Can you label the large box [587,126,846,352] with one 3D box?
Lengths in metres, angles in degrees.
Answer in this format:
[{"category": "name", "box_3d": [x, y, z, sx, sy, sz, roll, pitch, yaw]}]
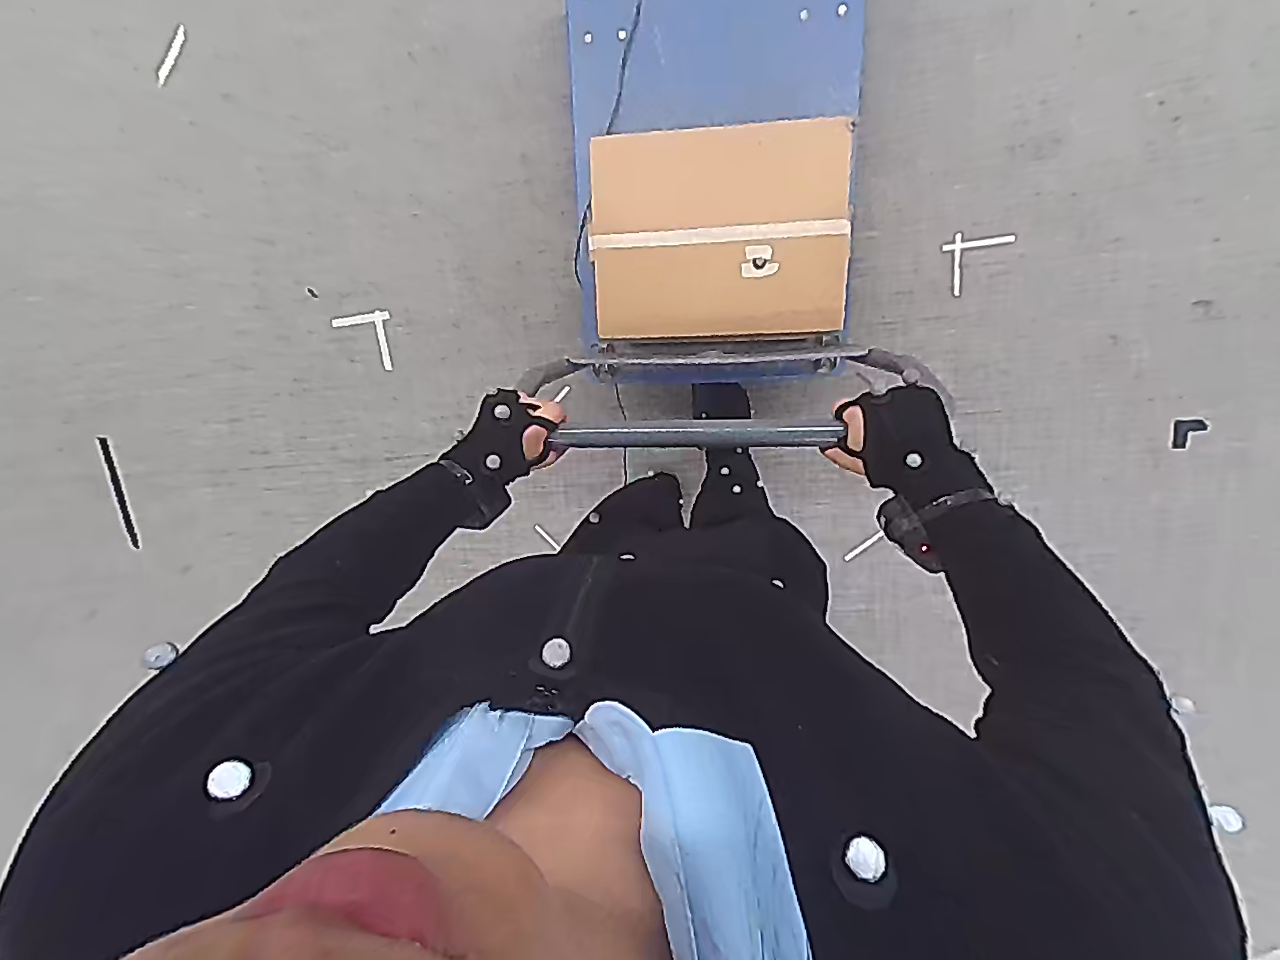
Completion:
[{"category": "large box", "box_3d": [0.134, -0.408, 1.006, 0.408, 0.320, 0.320, -1, 103, 7]}]
